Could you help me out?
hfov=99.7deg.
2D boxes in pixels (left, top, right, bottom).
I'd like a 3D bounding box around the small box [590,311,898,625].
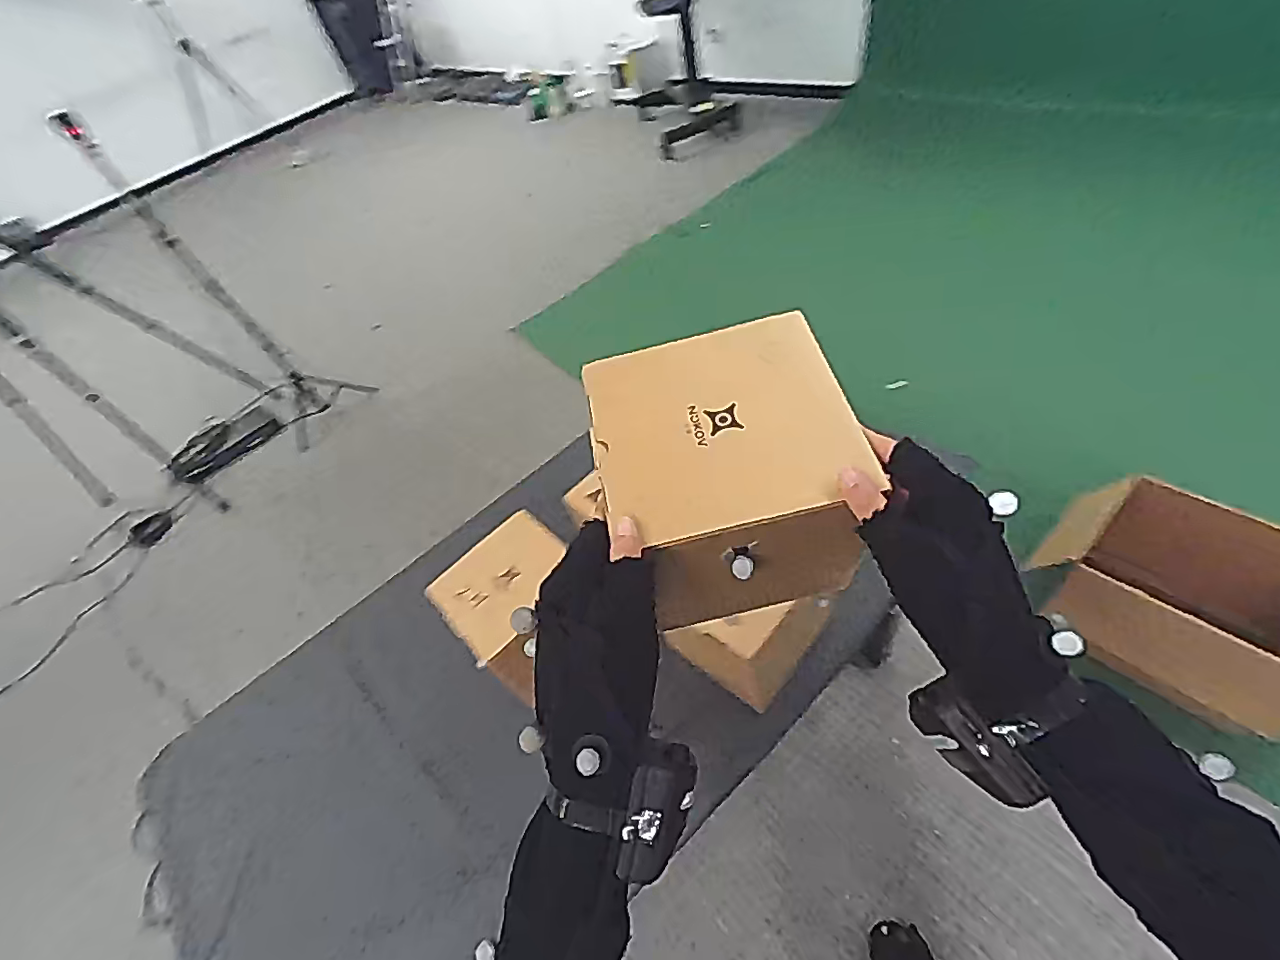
[{"bbox_3d":[0.072,0.001,0.434,0.179,0.176,0.168,-14,57,4],"label":"small box"}]
